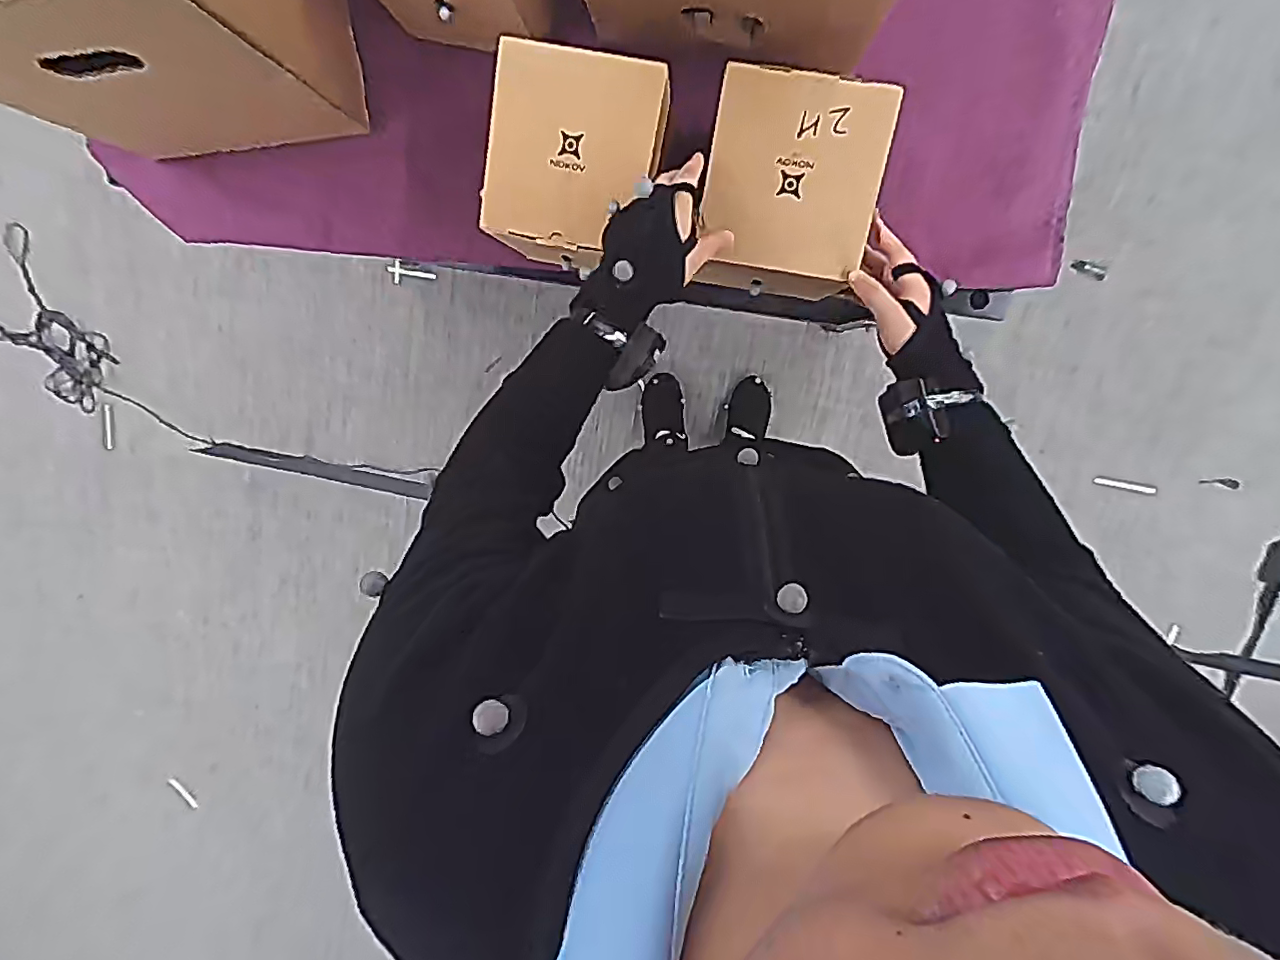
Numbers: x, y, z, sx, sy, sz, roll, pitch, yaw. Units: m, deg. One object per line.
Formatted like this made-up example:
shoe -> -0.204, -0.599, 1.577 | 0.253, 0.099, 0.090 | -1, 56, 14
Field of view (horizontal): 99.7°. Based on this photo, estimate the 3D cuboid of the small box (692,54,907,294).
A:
small box -> 0.154, -0.310, 0.588 | 0.168, 0.176, 0.179 | 11, 103, 2
